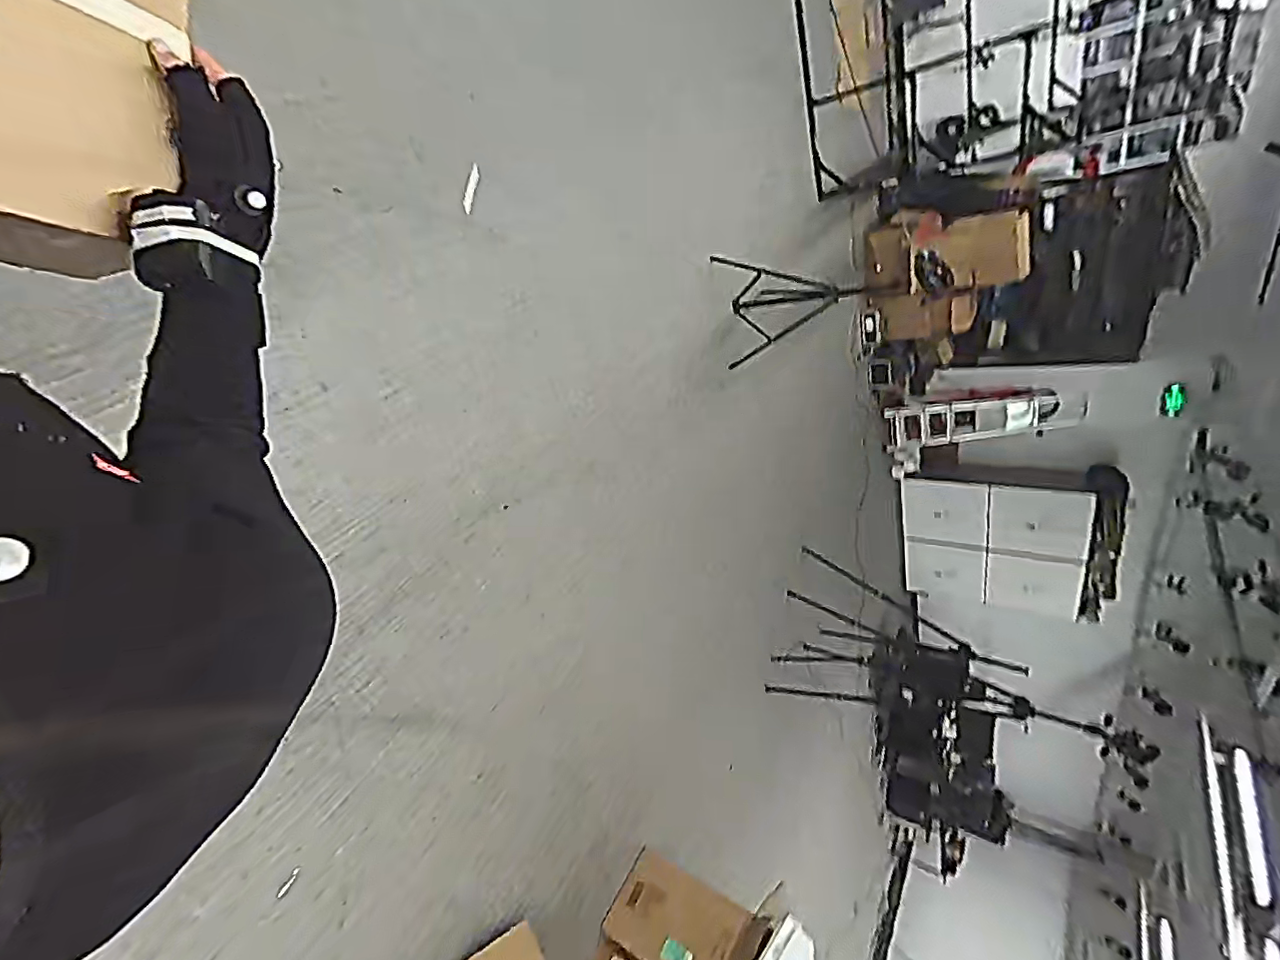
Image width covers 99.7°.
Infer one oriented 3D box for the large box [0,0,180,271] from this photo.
[{"bbox_3d":[-0.604,-0.354,0.348,0.408,0.320,0.320,-4,102,-56],"label":"large box"}]
